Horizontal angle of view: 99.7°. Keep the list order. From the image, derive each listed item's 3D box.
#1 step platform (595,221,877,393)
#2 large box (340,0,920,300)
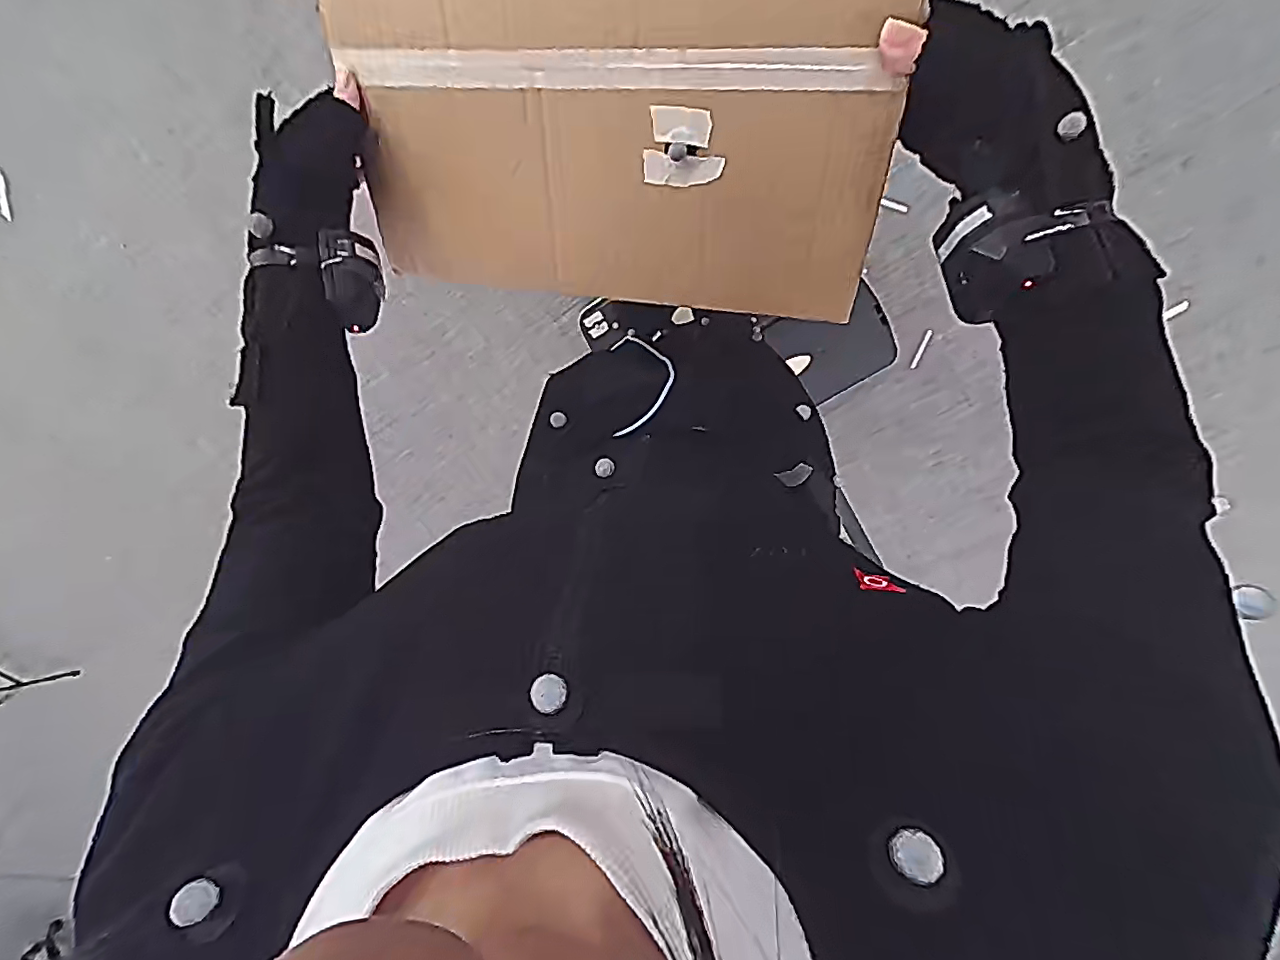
[{"bbox_3d":[0.221,-0.510,1.361,0.684,0.204,0.286,-31,109,16],"label":"step platform"},{"bbox_3d":[0.010,-0.375,0.488,0.408,0.320,0.320,9,129,12],"label":"large box"}]
